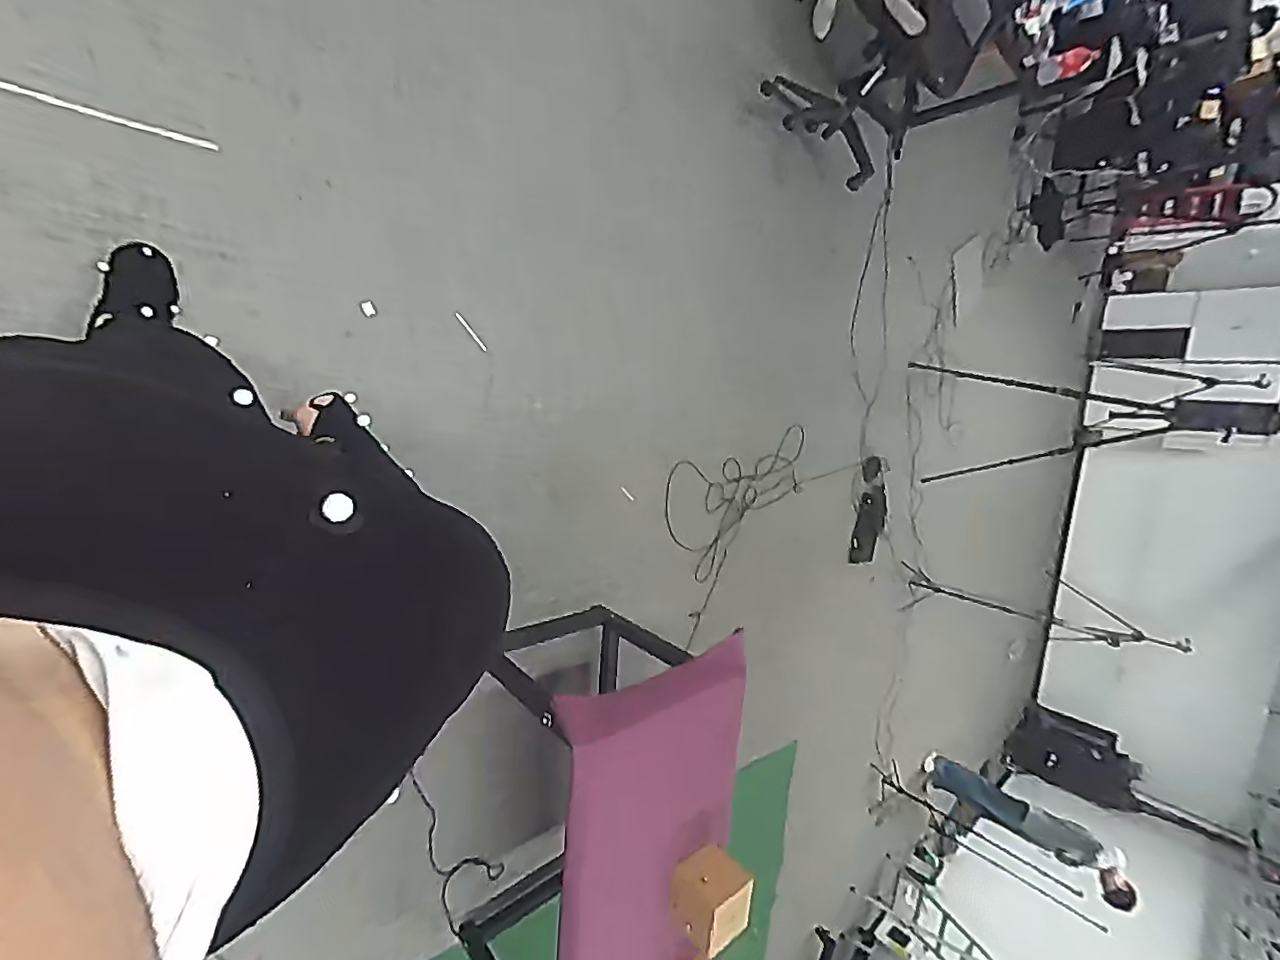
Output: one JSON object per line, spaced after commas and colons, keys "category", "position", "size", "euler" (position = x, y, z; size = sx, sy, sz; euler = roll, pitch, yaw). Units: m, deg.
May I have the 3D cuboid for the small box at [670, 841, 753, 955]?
{"category": "small box", "position": [0.208, 1.229, 1.605], "size": [0.179, 0.176, 0.168], "euler": [0, 100, -42]}
